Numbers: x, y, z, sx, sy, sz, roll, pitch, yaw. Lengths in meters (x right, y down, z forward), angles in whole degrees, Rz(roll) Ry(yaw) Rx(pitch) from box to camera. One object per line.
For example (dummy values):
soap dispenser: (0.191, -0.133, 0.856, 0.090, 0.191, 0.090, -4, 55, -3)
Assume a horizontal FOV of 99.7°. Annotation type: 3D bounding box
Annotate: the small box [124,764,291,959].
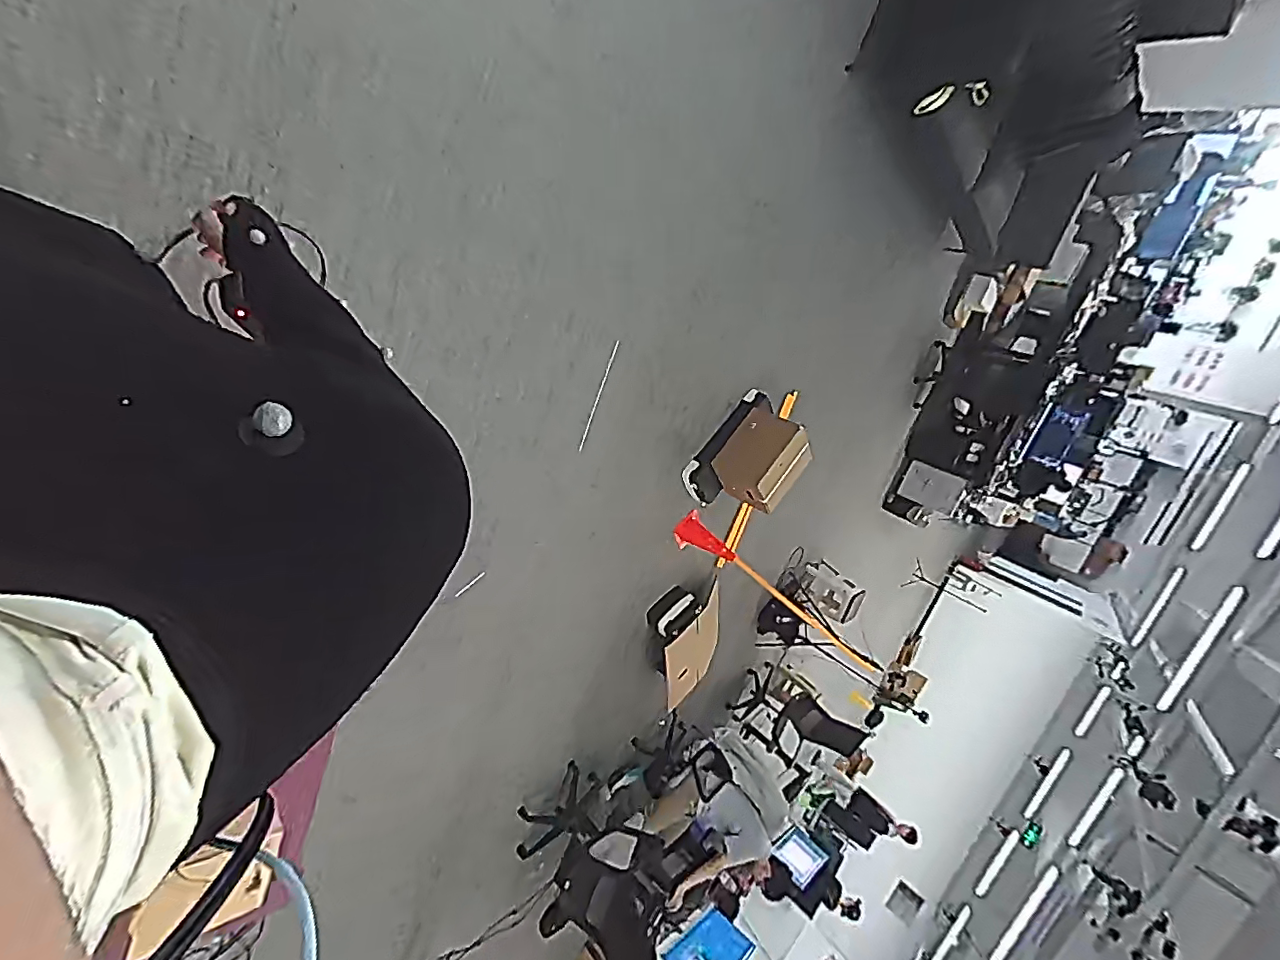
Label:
small box: (-0.718, 0.613, 0.894, 0.179, 0.176, 0.168, 9, 107, -51)
